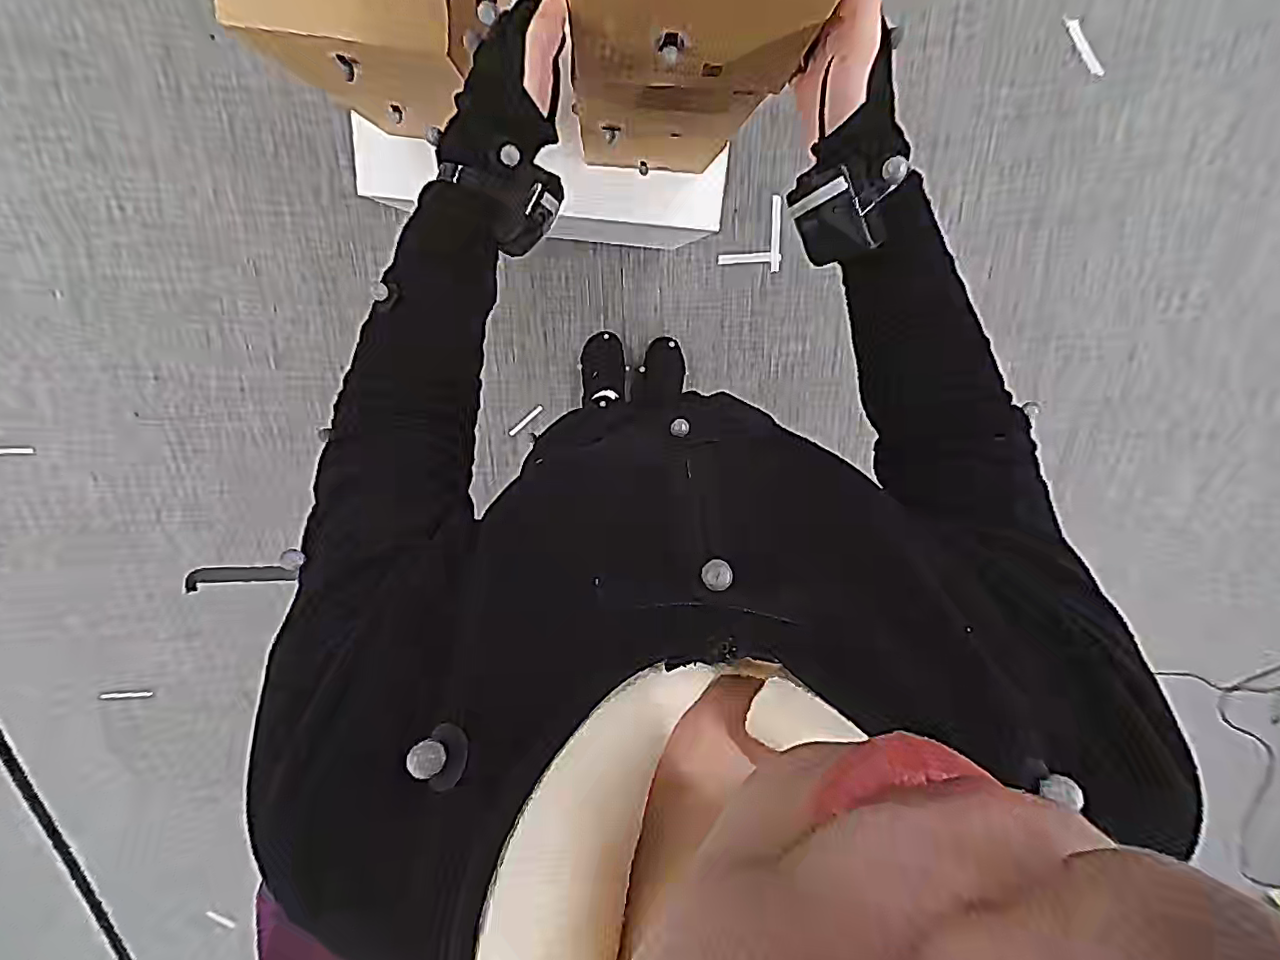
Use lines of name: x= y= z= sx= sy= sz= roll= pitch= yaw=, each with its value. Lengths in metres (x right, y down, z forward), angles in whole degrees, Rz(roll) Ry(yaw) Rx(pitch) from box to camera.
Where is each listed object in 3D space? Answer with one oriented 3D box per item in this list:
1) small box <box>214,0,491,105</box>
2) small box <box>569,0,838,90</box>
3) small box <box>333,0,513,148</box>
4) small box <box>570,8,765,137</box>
small box: x=-0.232 y=-0.447 z=0.464 sx=0.179 sy=0.176 sz=0.168 roll=4 pitch=111 yaw=-6
small box: x=0.039 y=-0.378 z=0.325 sx=0.168 sy=0.176 sz=0.179 roll=1 pitch=103 yaw=-4
small box: x=-0.242 y=-0.508 z=0.617 sx=0.168 sy=0.176 sz=0.179 roll=5 pitch=109 yaw=-5
small box: x=0.027 y=-0.432 z=0.489 sx=0.168 sy=0.176 sz=0.179 roll=2 pitch=109 yaw=-4
